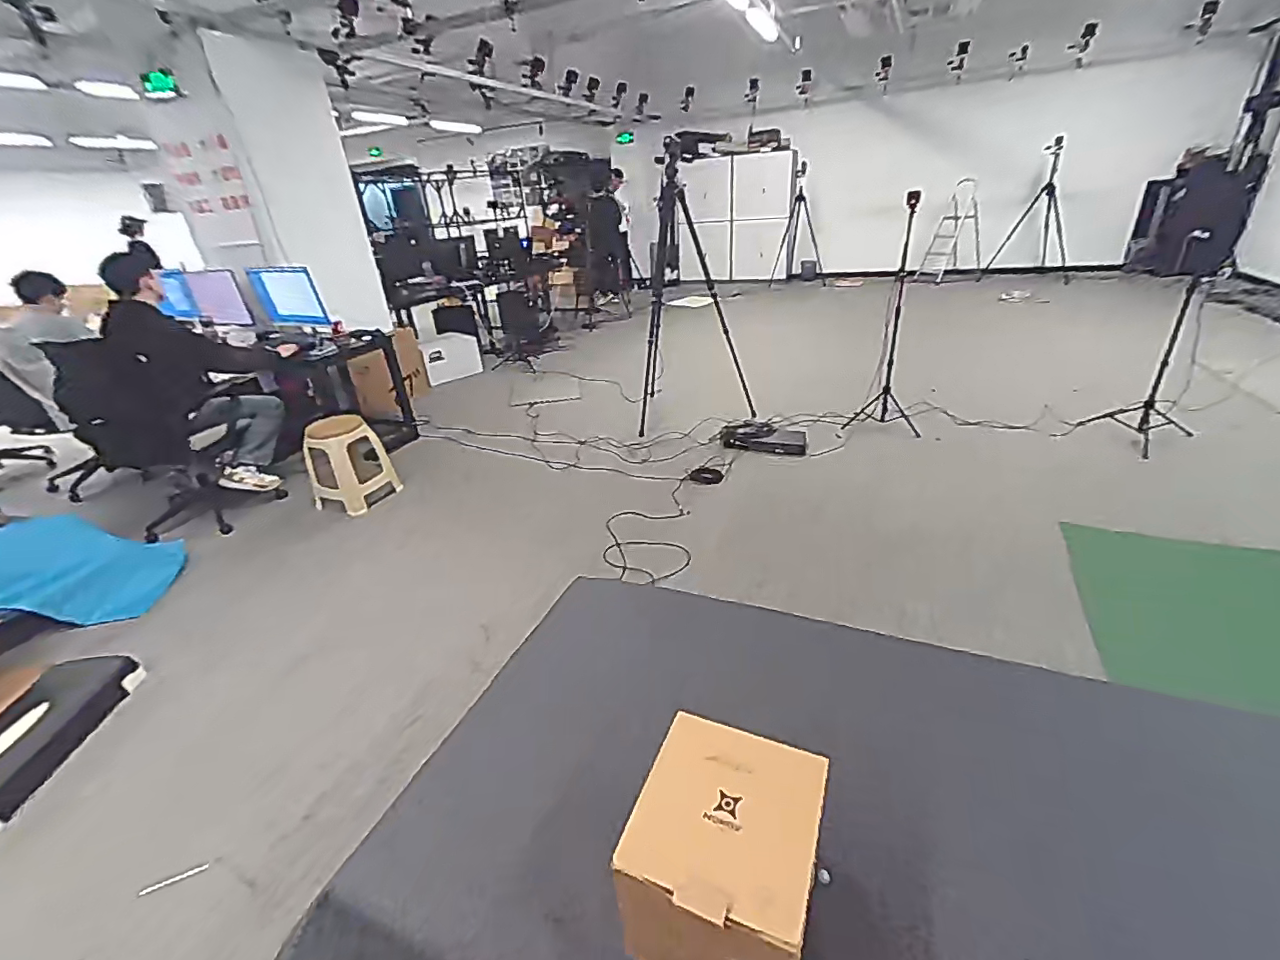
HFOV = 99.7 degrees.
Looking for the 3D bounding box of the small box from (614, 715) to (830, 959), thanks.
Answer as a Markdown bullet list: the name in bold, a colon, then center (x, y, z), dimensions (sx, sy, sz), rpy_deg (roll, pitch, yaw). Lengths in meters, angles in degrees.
- **small box**: center (0.090, 0.385, 0.546), dimensions (0.168, 0.176, 0.179), rpy_deg (9, 29, 22)
